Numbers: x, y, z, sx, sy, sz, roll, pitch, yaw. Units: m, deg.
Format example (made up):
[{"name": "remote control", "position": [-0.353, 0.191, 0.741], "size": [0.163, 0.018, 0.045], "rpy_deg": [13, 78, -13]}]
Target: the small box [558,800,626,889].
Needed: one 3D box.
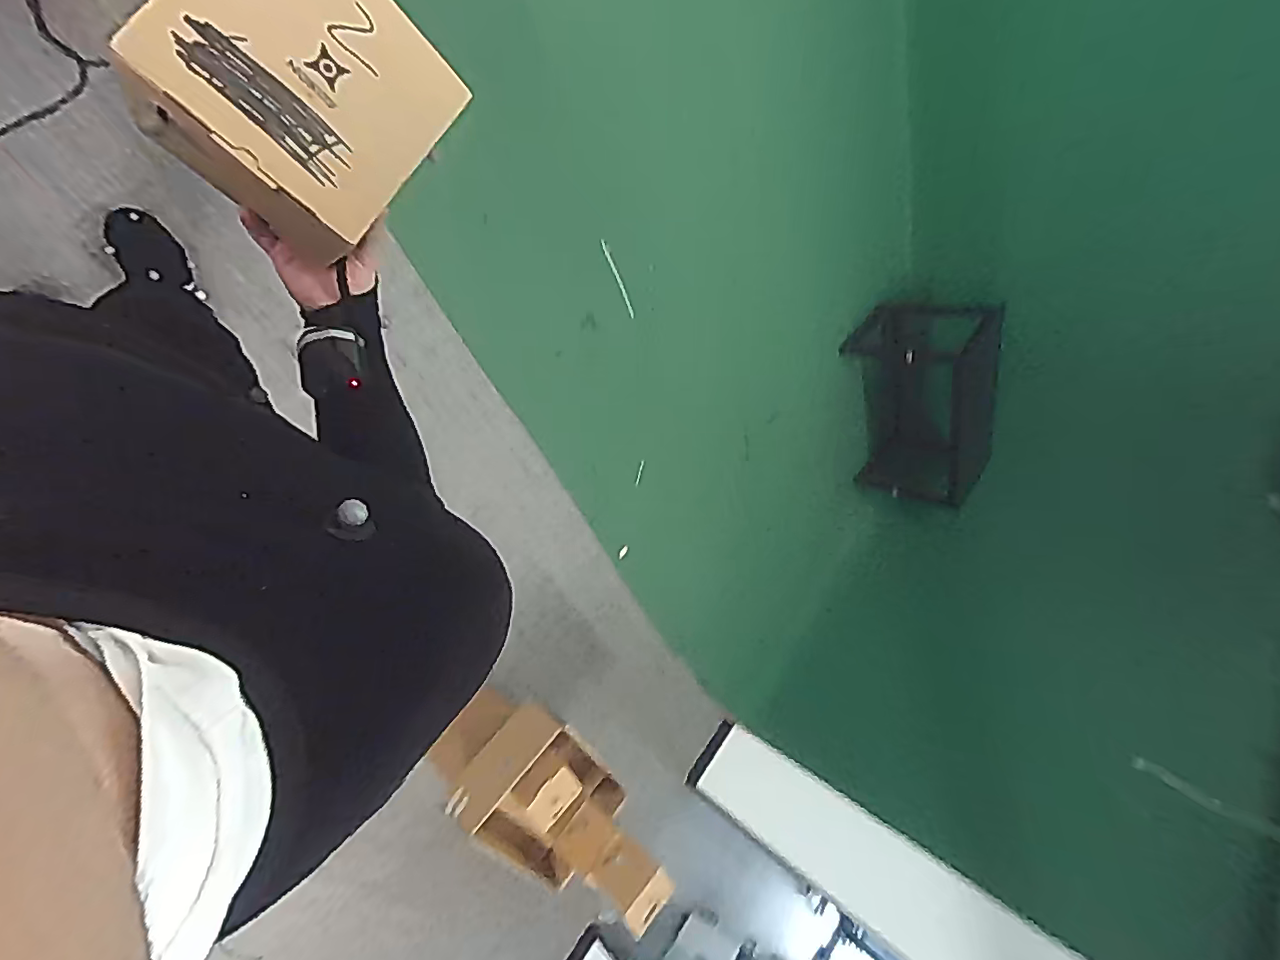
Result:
[{"name": "small box", "position": [-0.133, 1.191, 1.766], "size": [0.168, 0.176, 0.179], "rpy_deg": [-47, 131, -23]}]

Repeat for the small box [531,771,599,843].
[{"name": "small box", "position": [-0.244, 1.155, 1.878], "size": [0.168, 0.176, 0.179], "rpy_deg": [-47, 131, -24]}]

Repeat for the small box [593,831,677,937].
[{"name": "small box", "position": [-0.015, 1.230, 1.658], "size": [0.168, 0.176, 0.179], "rpy_deg": [-38, 127, -30]}]
